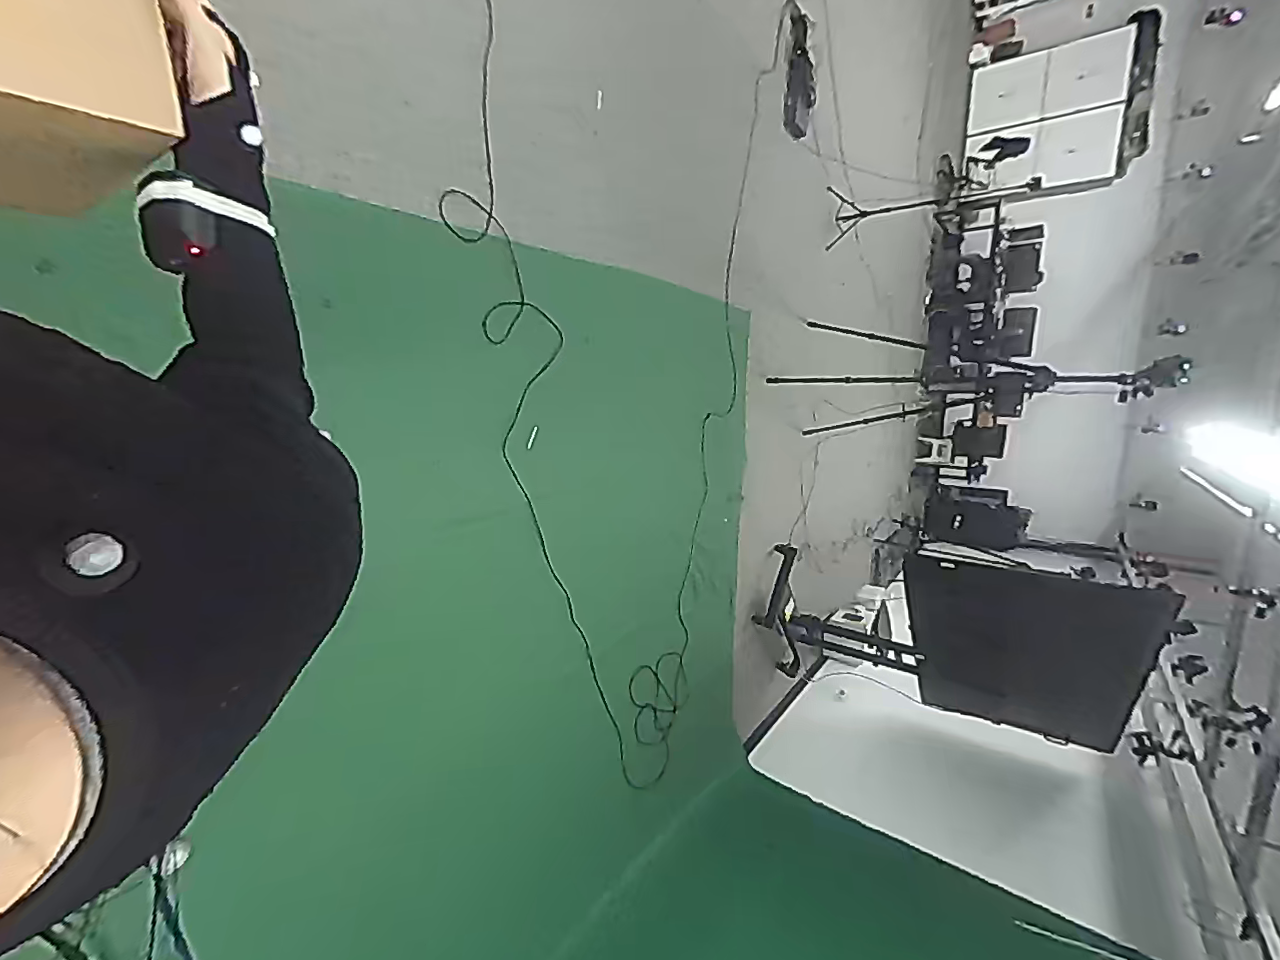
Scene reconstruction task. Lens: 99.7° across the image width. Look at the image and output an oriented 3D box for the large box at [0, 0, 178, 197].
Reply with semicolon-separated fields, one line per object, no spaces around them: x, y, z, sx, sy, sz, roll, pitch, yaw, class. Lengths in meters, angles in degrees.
-0.613;-0.401;0.329;0.408;0.320;0.320;-20;110;-53;large box
